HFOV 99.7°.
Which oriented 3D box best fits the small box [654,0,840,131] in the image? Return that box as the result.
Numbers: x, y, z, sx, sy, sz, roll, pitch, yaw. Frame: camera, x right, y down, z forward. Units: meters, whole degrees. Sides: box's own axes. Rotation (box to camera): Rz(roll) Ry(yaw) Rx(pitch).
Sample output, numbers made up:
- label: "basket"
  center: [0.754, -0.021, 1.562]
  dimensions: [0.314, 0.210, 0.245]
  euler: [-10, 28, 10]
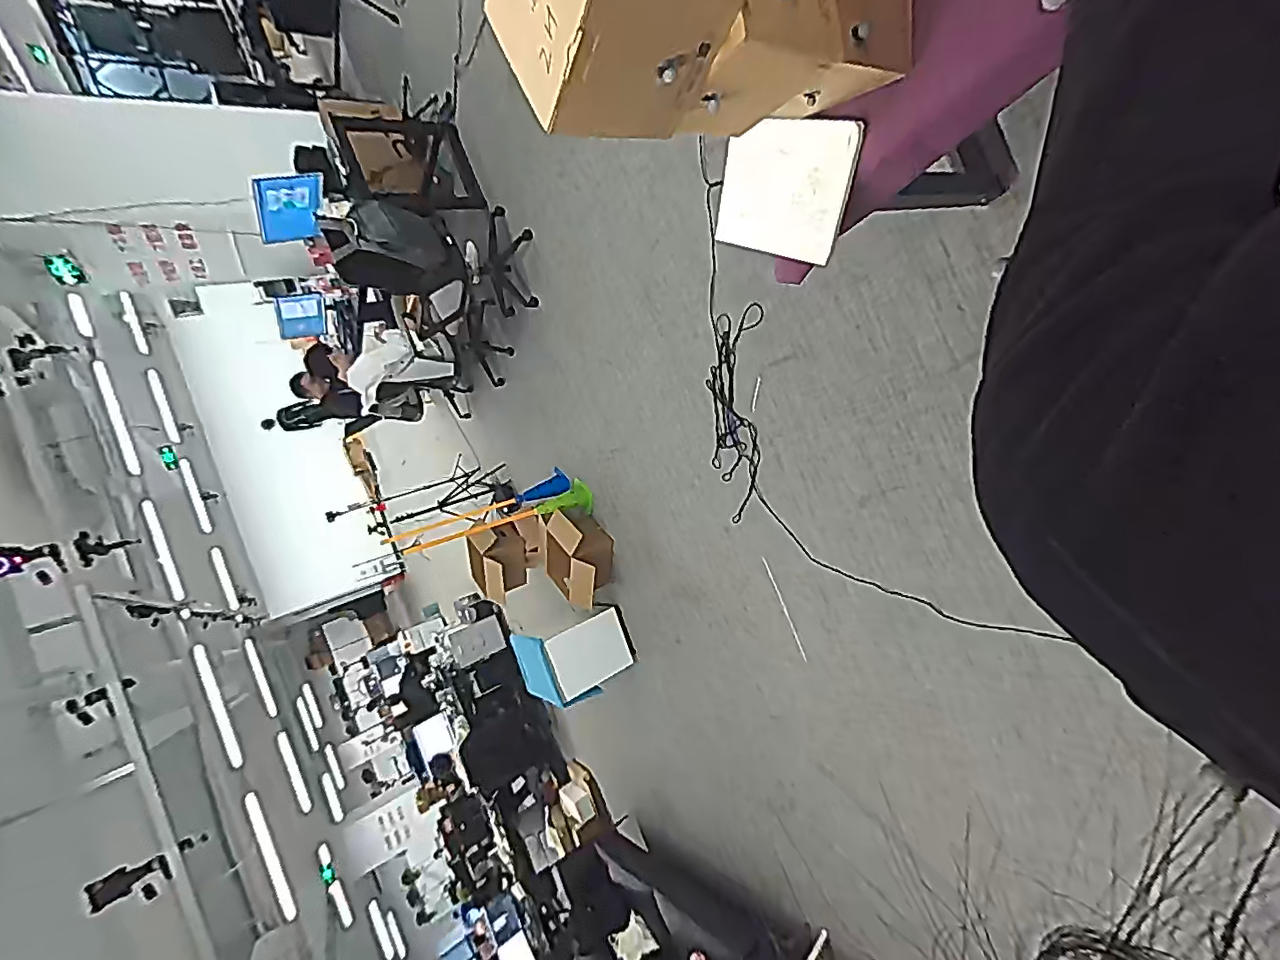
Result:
- label: "small box"
  center: [0.110, -0.534, 0.627]
  dimensions: [0.179, 0.176, 0.168]
  euler: [2, 109, 57]

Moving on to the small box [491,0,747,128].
- label: "small box"
  center: [-0.026, -0.487, 0.546]
  dimensions: [0.179, 0.176, 0.168]
  euler: [64, 149, 9]
